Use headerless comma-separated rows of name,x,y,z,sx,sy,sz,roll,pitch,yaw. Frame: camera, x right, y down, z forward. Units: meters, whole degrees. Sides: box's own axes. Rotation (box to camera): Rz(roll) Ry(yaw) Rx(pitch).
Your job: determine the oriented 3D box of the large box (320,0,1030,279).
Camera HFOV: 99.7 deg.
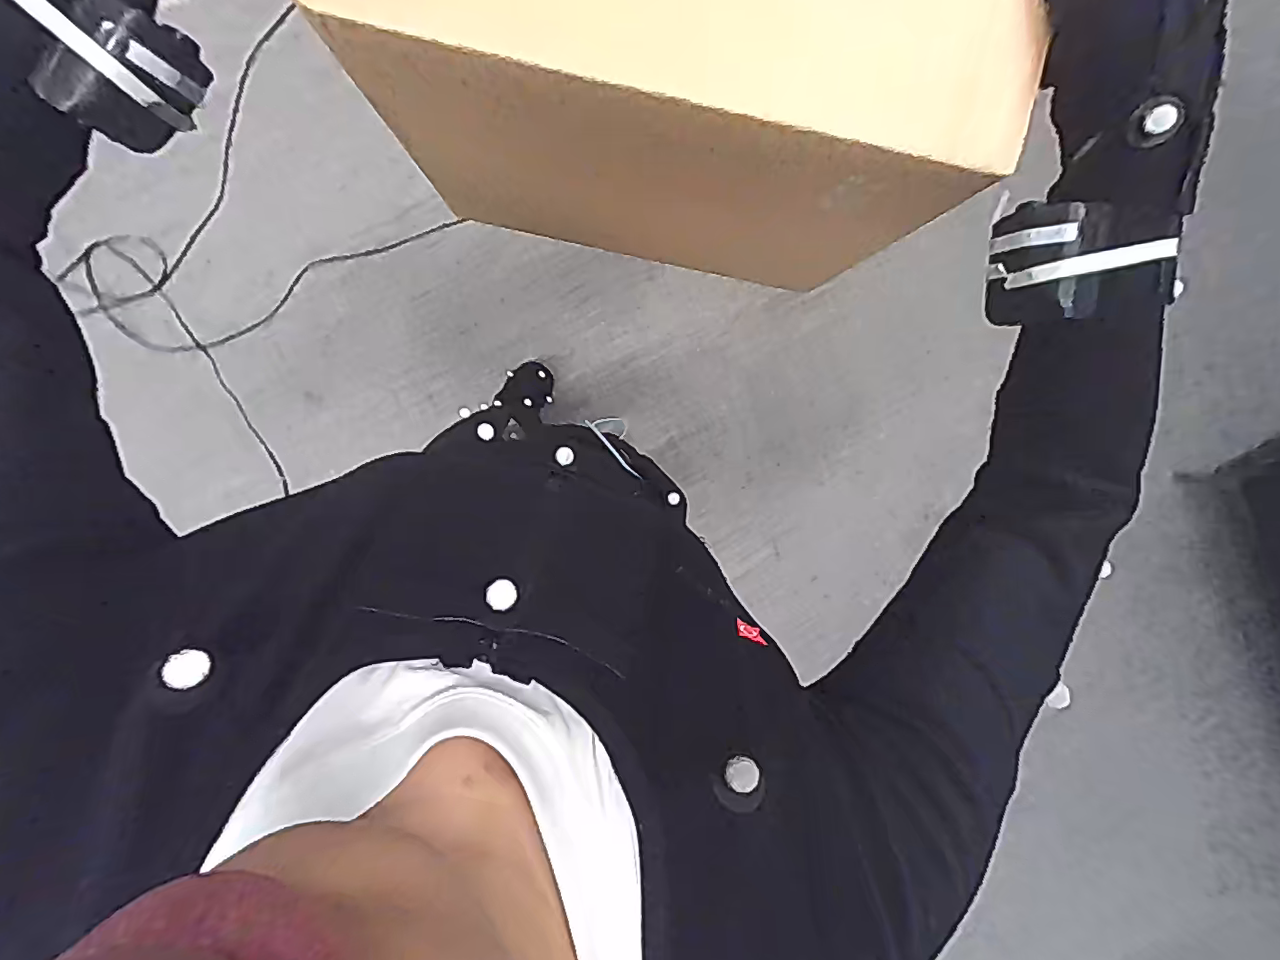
large box,0.030,-0.388,0.439,0.408,0.320,0.320,9,96,-6
